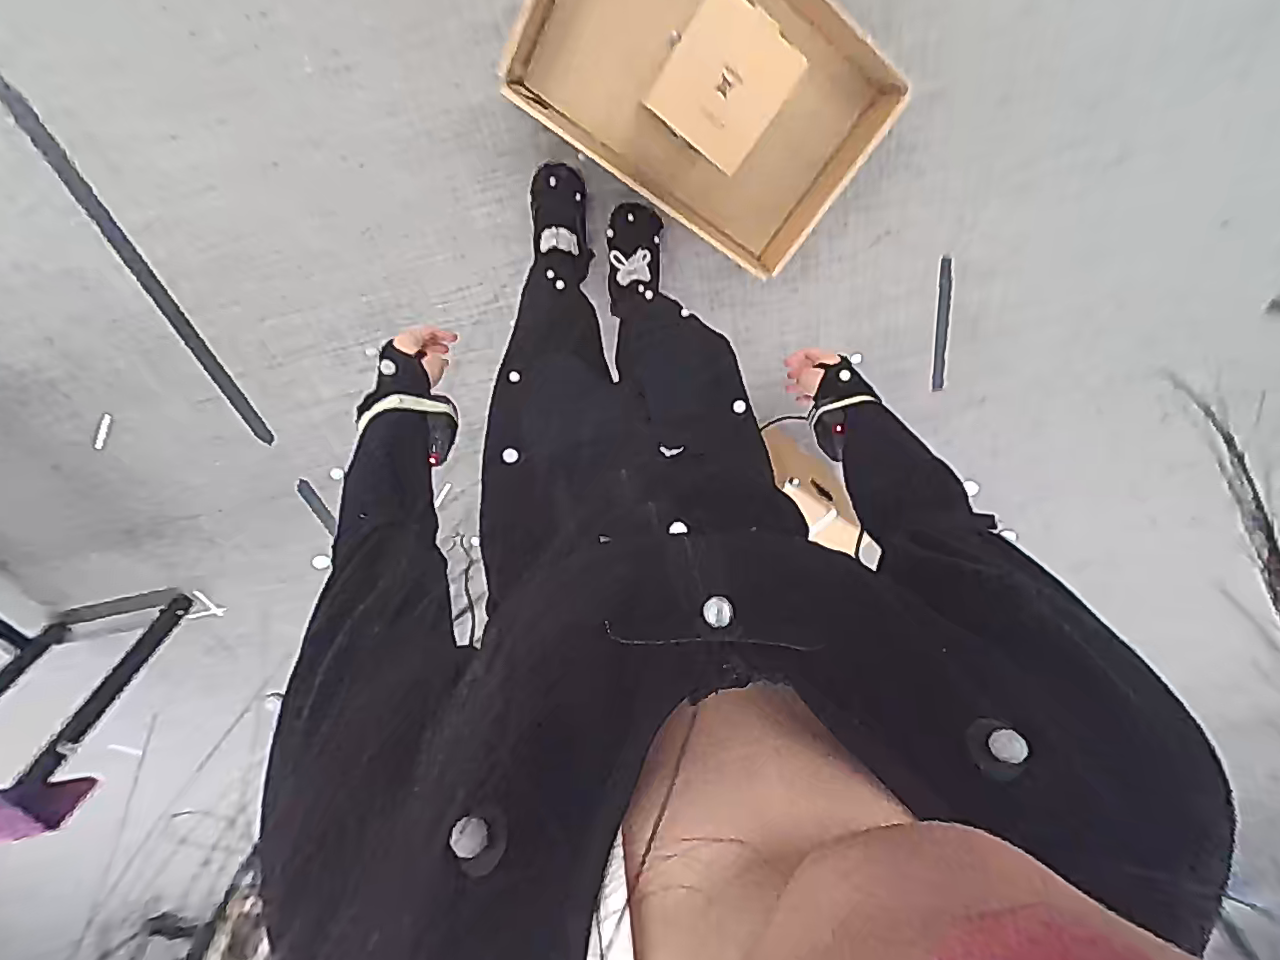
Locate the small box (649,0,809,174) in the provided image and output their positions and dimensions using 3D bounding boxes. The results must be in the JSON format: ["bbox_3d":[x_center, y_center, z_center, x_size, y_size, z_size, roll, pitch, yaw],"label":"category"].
[{"bbox_3d":[0.122,-0.613,0.832,0.168,0.176,0.179,29,120,-20],"label":"small box"}]
